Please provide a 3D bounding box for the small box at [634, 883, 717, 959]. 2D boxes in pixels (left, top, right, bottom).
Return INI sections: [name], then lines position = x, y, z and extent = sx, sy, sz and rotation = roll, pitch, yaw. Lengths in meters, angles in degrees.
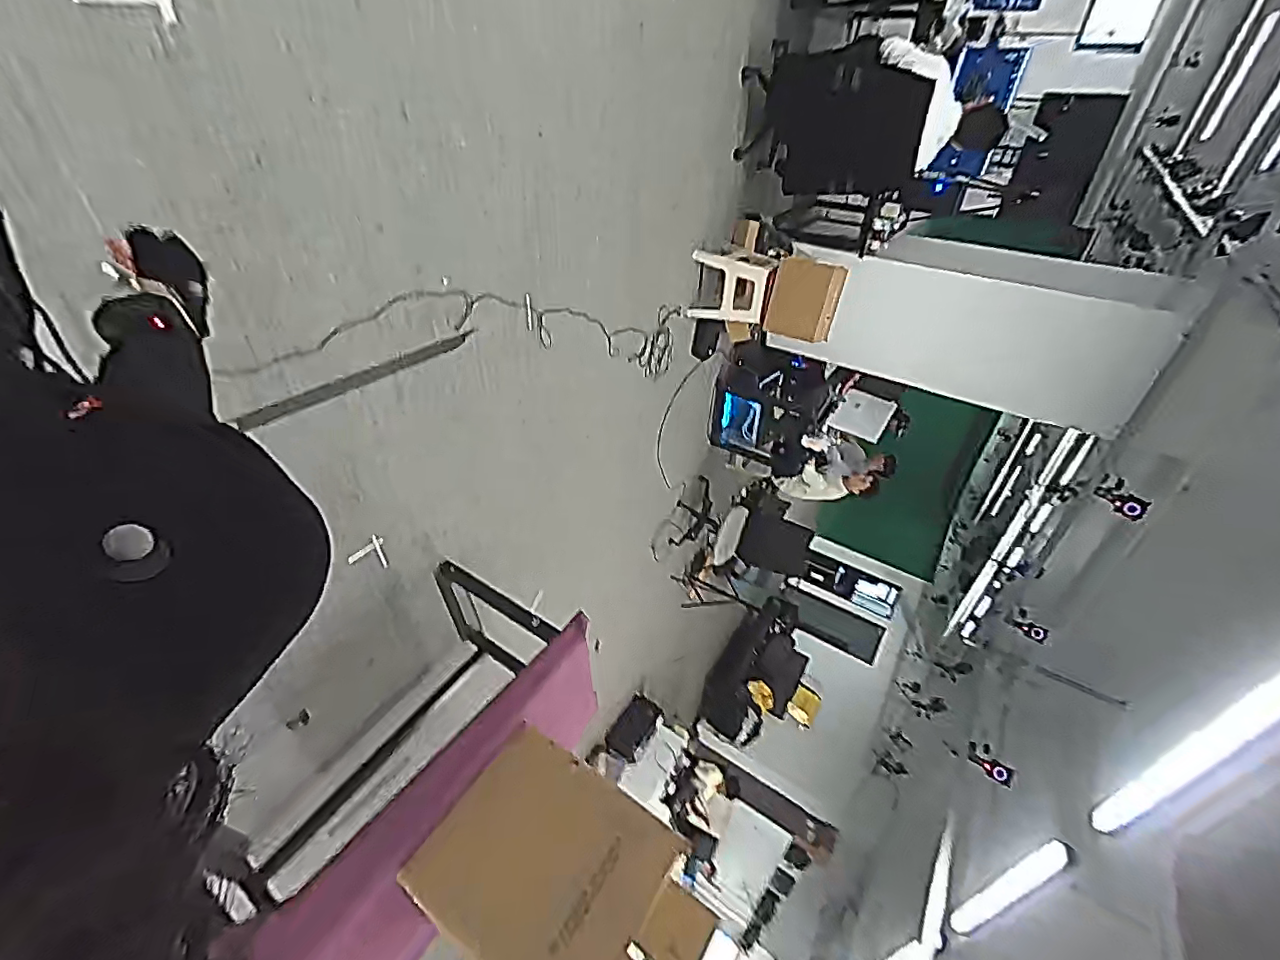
[small box]
position = 0.094, 1.263, 1.482
extent = 0.179, 0.176, 0.168
rotation = -47, 150, -36
